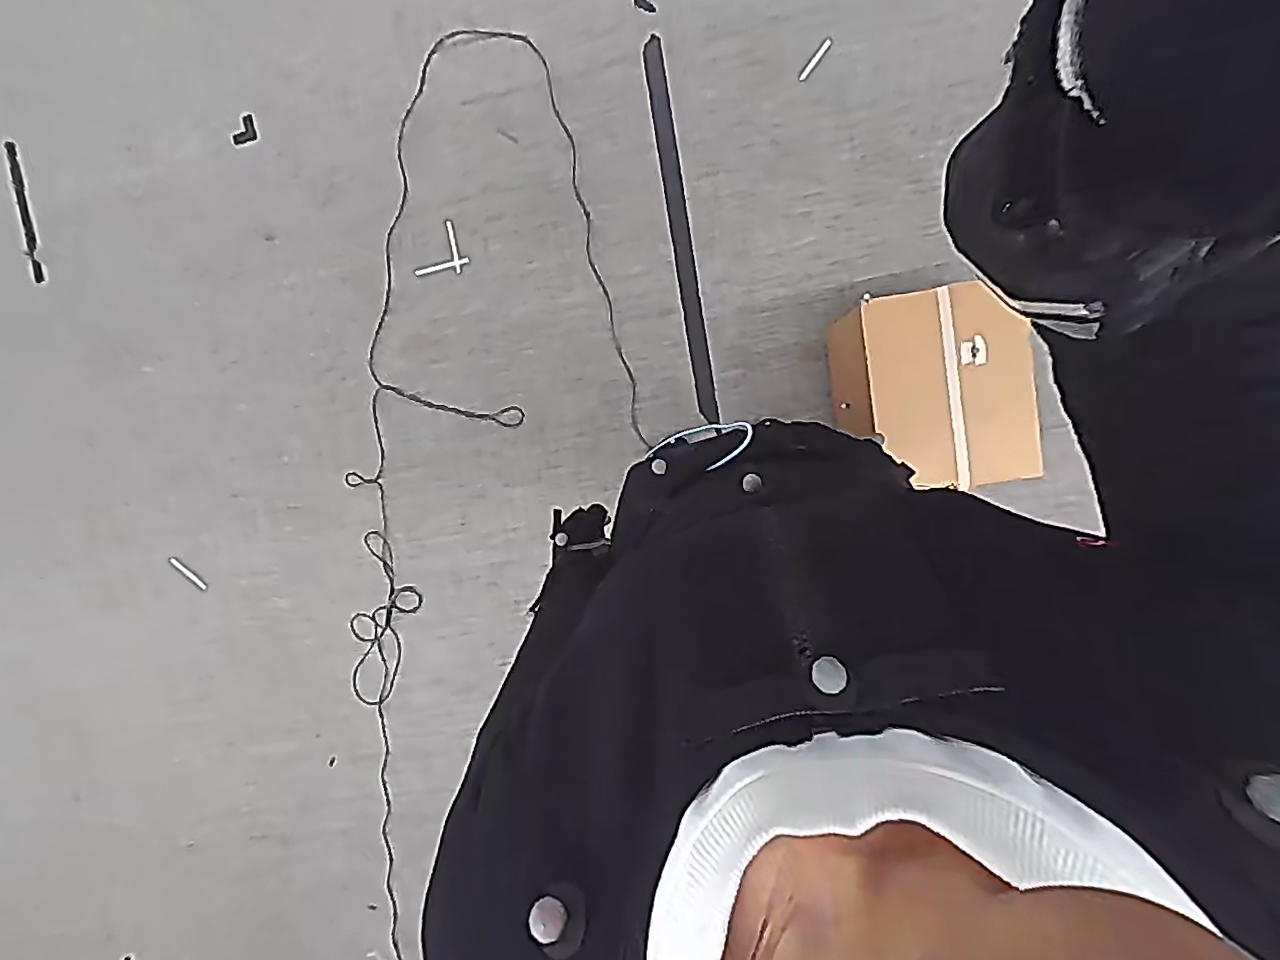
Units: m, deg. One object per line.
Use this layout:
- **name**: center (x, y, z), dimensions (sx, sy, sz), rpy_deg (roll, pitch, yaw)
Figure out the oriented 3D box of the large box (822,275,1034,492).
- **large box**: center (0.634, -0.201, 1.250), dimensions (0.320, 0.320, 0.408), rpy_deg (-8, 93, 5)
